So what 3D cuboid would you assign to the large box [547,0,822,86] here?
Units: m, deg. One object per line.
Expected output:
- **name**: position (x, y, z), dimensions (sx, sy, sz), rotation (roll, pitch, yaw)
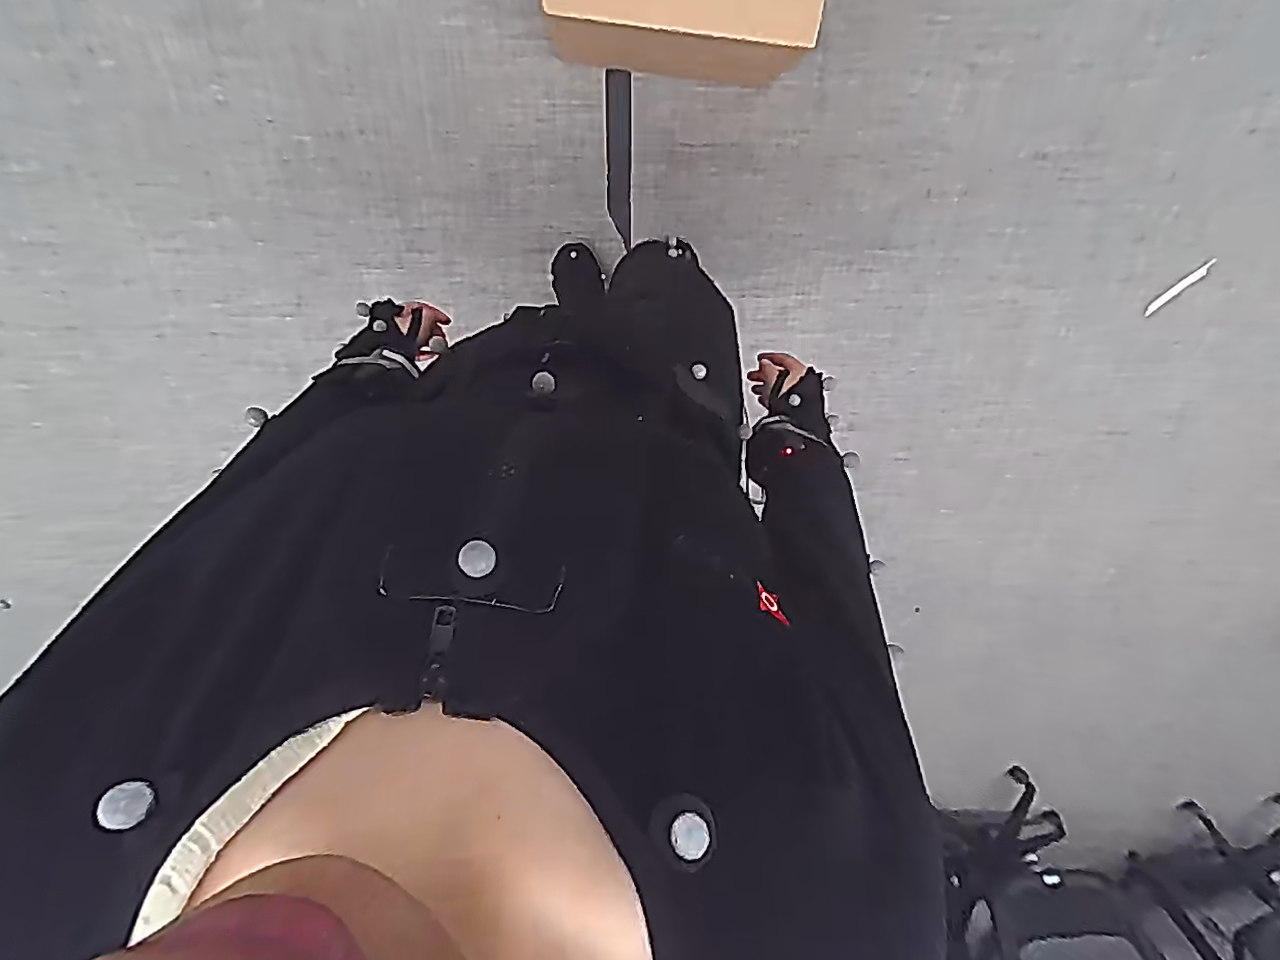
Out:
- **large box**: position (0.064, -0.855, 0.855), dimensions (0.408, 0.320, 0.320), rotation (3, 118, -5)
